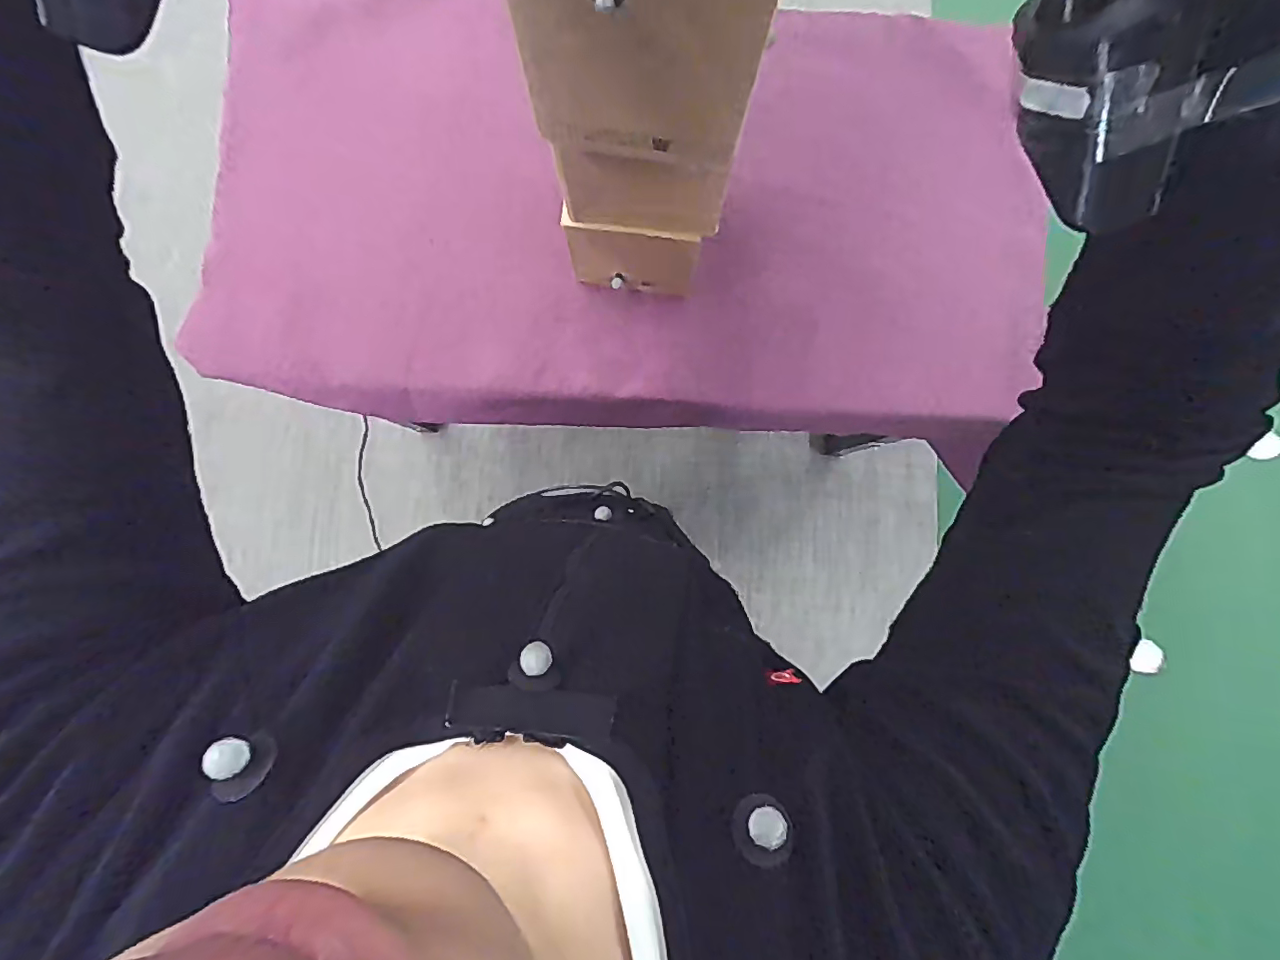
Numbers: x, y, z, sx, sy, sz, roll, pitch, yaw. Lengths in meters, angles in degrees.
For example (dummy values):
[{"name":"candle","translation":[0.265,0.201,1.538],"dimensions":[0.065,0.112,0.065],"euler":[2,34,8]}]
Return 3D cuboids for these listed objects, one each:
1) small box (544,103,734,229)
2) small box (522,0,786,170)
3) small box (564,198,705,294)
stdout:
[{"name":"small box","translation":[0.011,-0.376,0.544],"dimensions":[0.179,0.176,0.168],"euler":[5,87,-1]},{"name":"small box","translation":[0.013,-0.362,0.379],"dimensions":[0.168,0.176,0.179],"euler":[8,86,0]},{"name":"small box","translation":[0.002,-0.367,0.705],"dimensions":[0.168,0.176,0.179],"euler":[7,88,0]}]
